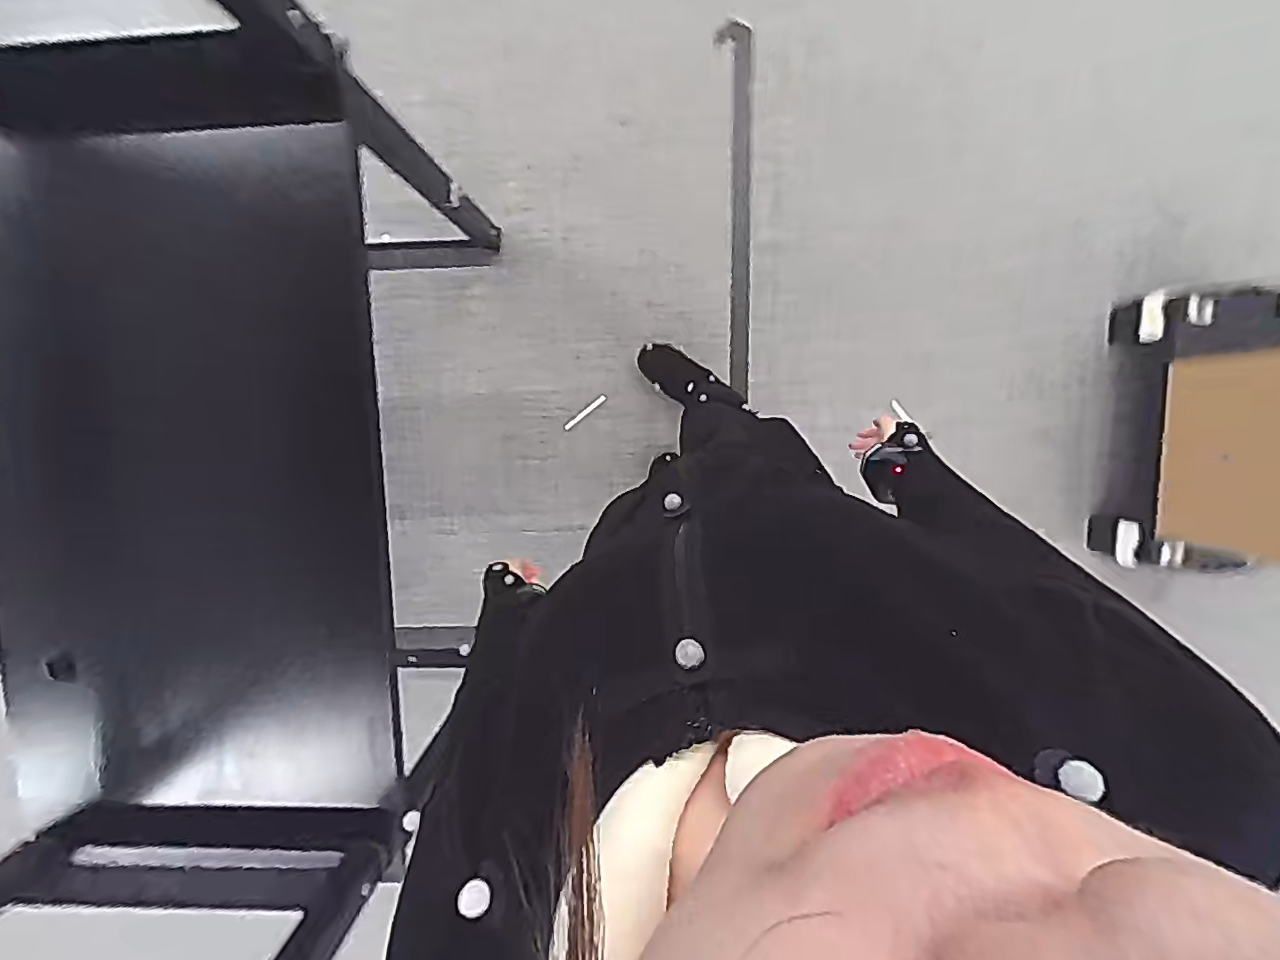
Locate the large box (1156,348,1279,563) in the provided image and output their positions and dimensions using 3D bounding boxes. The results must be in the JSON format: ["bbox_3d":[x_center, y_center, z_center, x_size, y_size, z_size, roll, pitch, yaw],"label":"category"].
[{"bbox_3d":[1.339,-0.061,1.090,0.320,0.320,0.408,-3,96,2],"label":"large box"}]
